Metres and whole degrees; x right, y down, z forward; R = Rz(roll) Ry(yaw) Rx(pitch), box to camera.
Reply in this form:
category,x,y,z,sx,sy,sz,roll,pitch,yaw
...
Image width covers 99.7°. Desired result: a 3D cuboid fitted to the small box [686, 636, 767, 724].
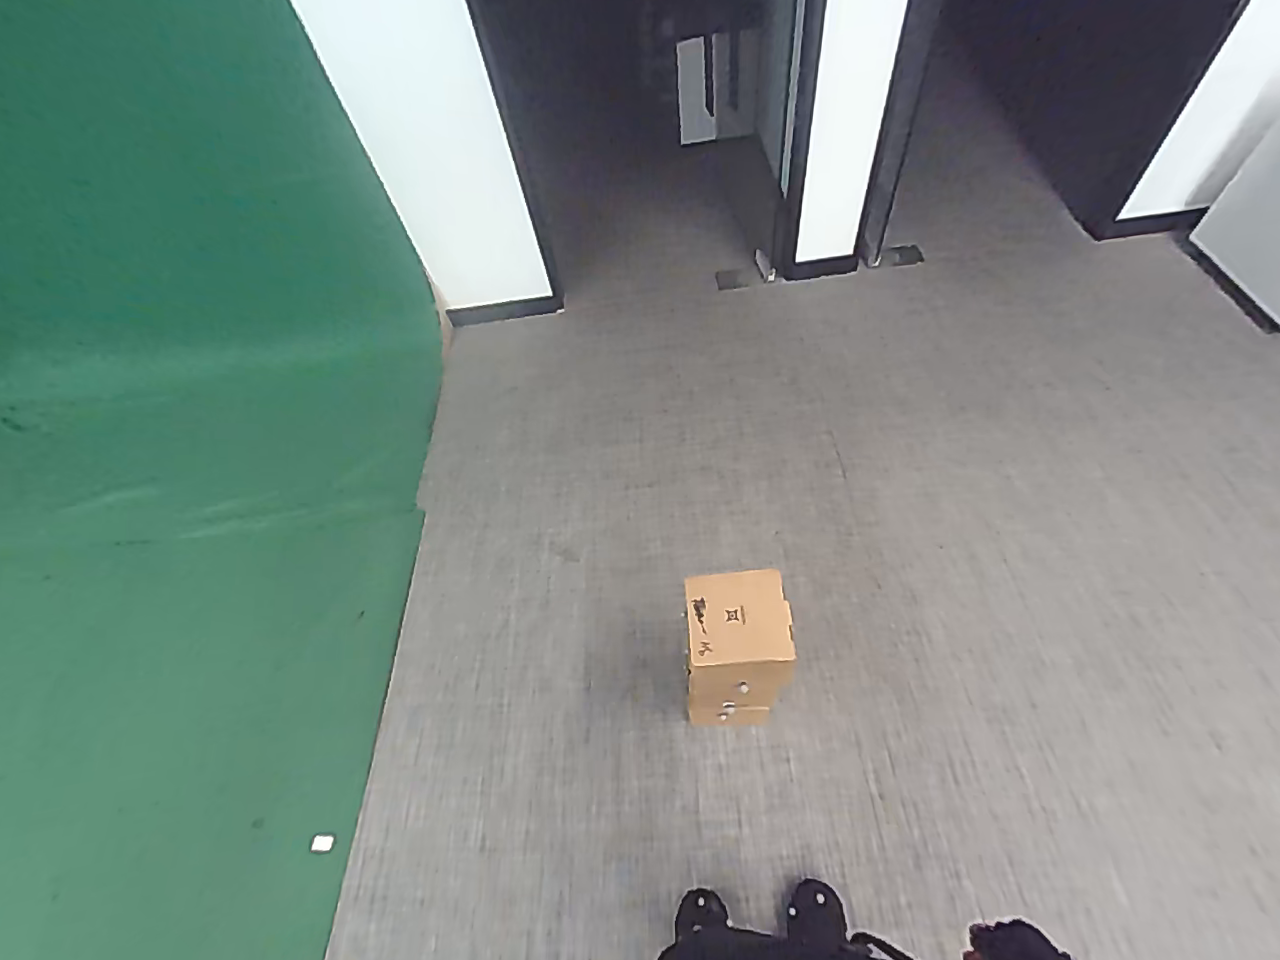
category,x,y,z,sx,sy,sz,roll,pitch,yaw
small box,0.204,0.475,1.281,0.179,0.176,0.168,-3,55,6

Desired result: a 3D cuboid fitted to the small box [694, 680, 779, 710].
category,x,y,z,sx,sy,sz,roll,pitch,yaw
small box,0.197,0.378,1.152,0.168,0.176,0.179,-6,55,7

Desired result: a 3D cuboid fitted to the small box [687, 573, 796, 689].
category,x,y,z,sx,sy,sz,roll,pitch,yaw
small box,0.183,0.287,1.016,0.179,0.176,0.168,-5,54,6
